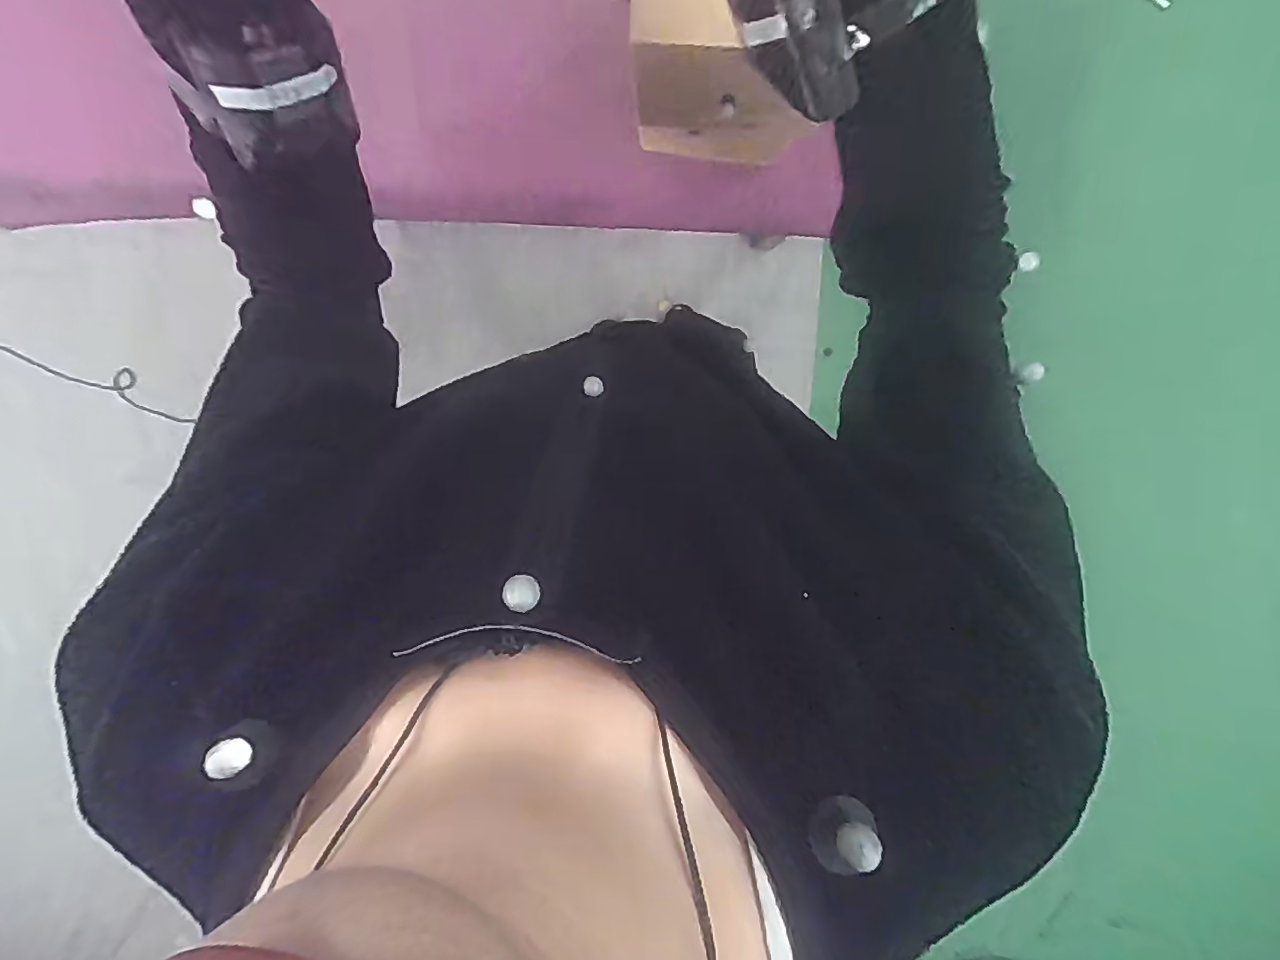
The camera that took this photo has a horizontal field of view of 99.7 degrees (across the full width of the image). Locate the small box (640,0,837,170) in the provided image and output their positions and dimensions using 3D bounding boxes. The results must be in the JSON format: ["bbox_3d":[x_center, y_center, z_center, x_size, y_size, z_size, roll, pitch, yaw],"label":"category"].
[{"bbox_3d":[0.095,-0.443,0.559,0.168,0.176,0.179,7,106,0],"label":"small box"}]
